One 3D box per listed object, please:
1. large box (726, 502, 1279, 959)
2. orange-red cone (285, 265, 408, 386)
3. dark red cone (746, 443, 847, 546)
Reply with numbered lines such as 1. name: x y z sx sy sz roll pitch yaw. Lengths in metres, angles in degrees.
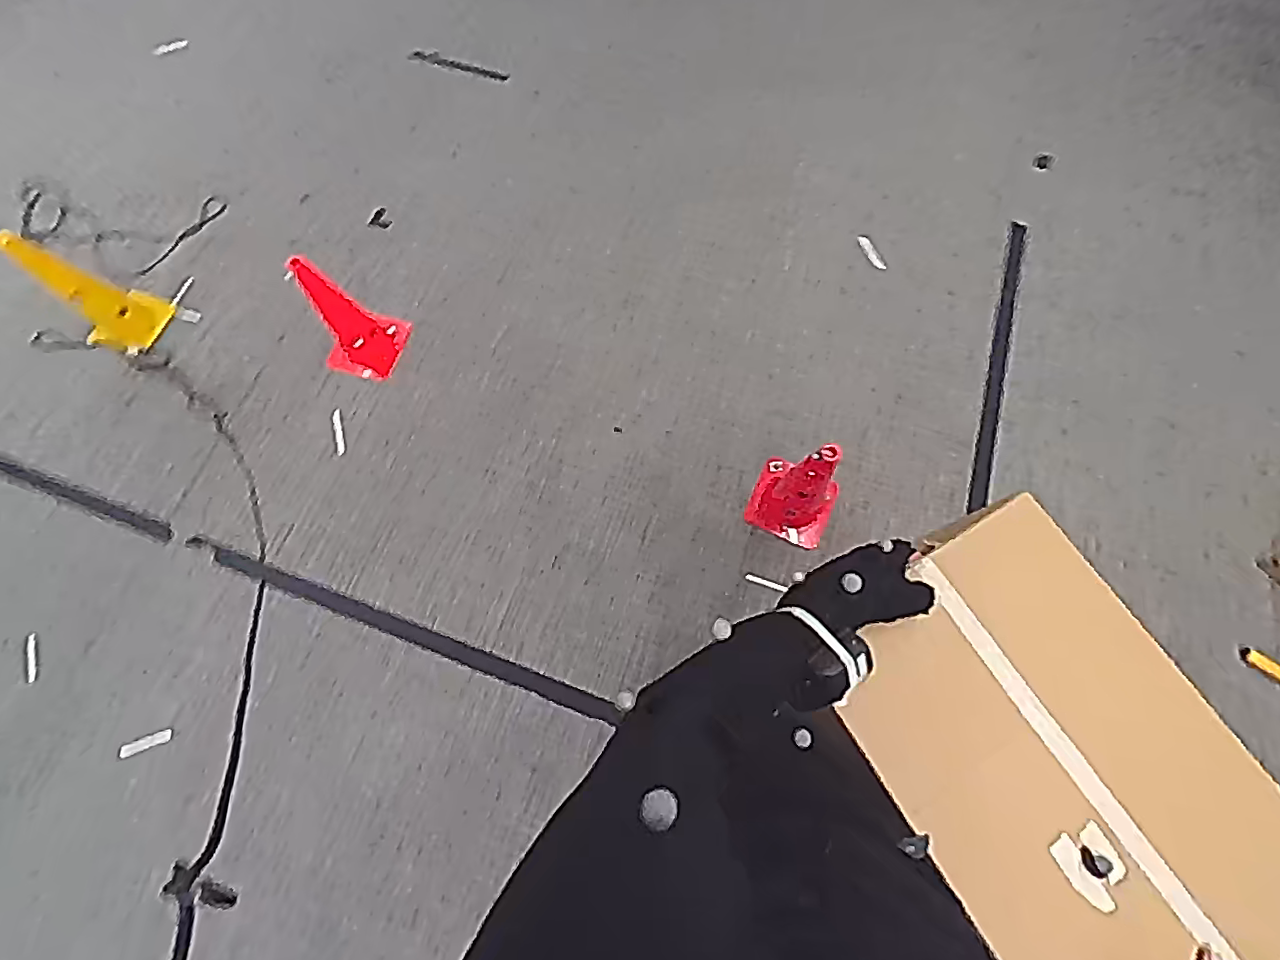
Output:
1. large box: 0.361 0.302 0.628 0.320 0.320 0.408 -28 74 -14
2. orange-red cone: -0.819 -0.437 1.448 0.199 0.360 0.198 14 72 8
3. dark red cone: 0.386 0.001 1.230 0.202 0.394 0.201 23 75 10
